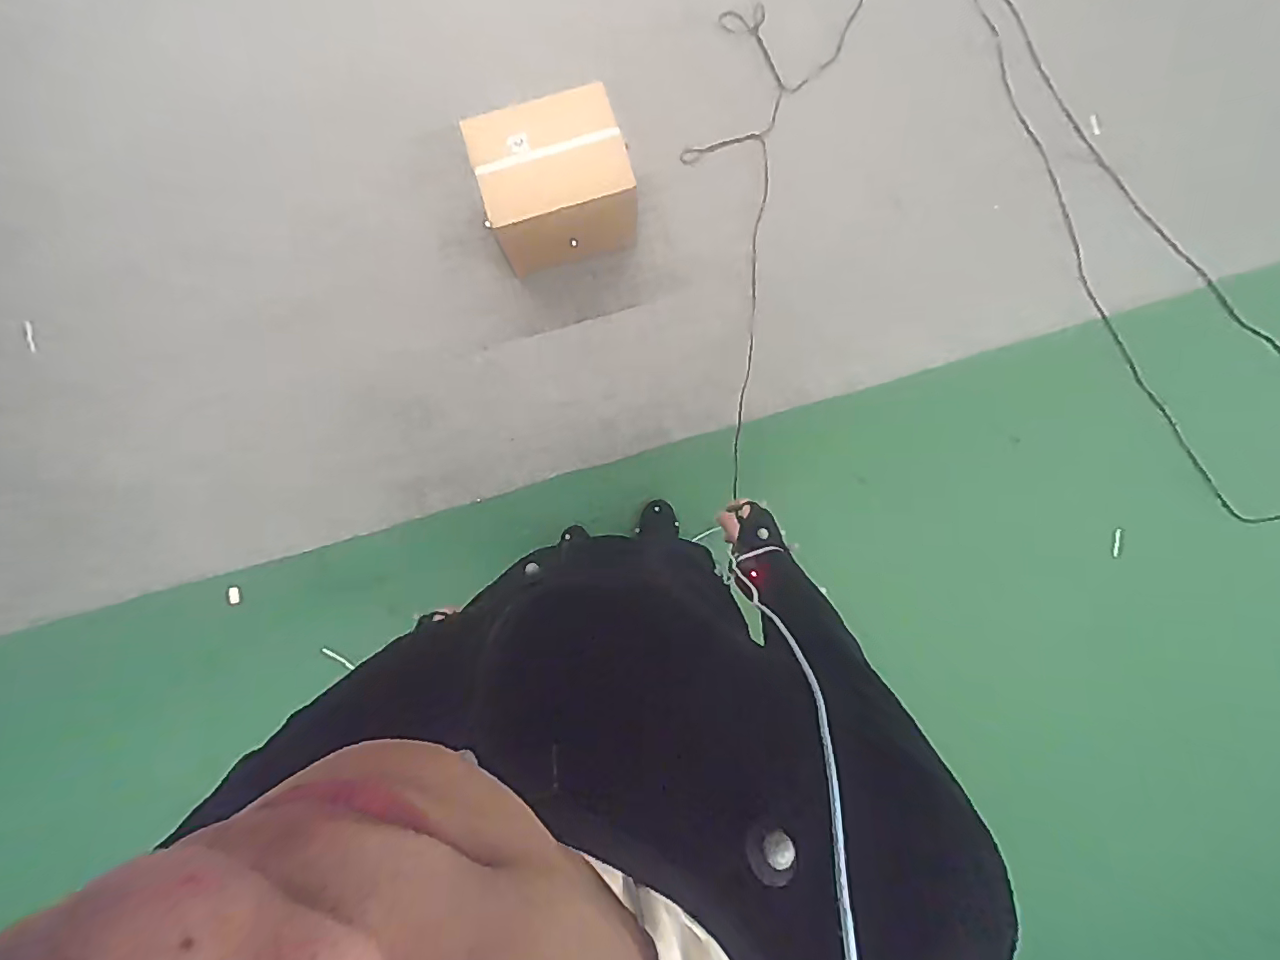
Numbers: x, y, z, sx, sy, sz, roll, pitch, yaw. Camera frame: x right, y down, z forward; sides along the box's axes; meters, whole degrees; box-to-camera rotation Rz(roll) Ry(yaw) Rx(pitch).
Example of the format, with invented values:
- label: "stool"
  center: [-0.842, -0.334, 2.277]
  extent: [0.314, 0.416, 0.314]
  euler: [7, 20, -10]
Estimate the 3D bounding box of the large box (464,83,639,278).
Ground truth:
- label: "large box"
  center: [-0.238, -0.853, 1.588]
  extent: [0.408, 0.320, 0.320]
  euler: [-18, 86, 0]
